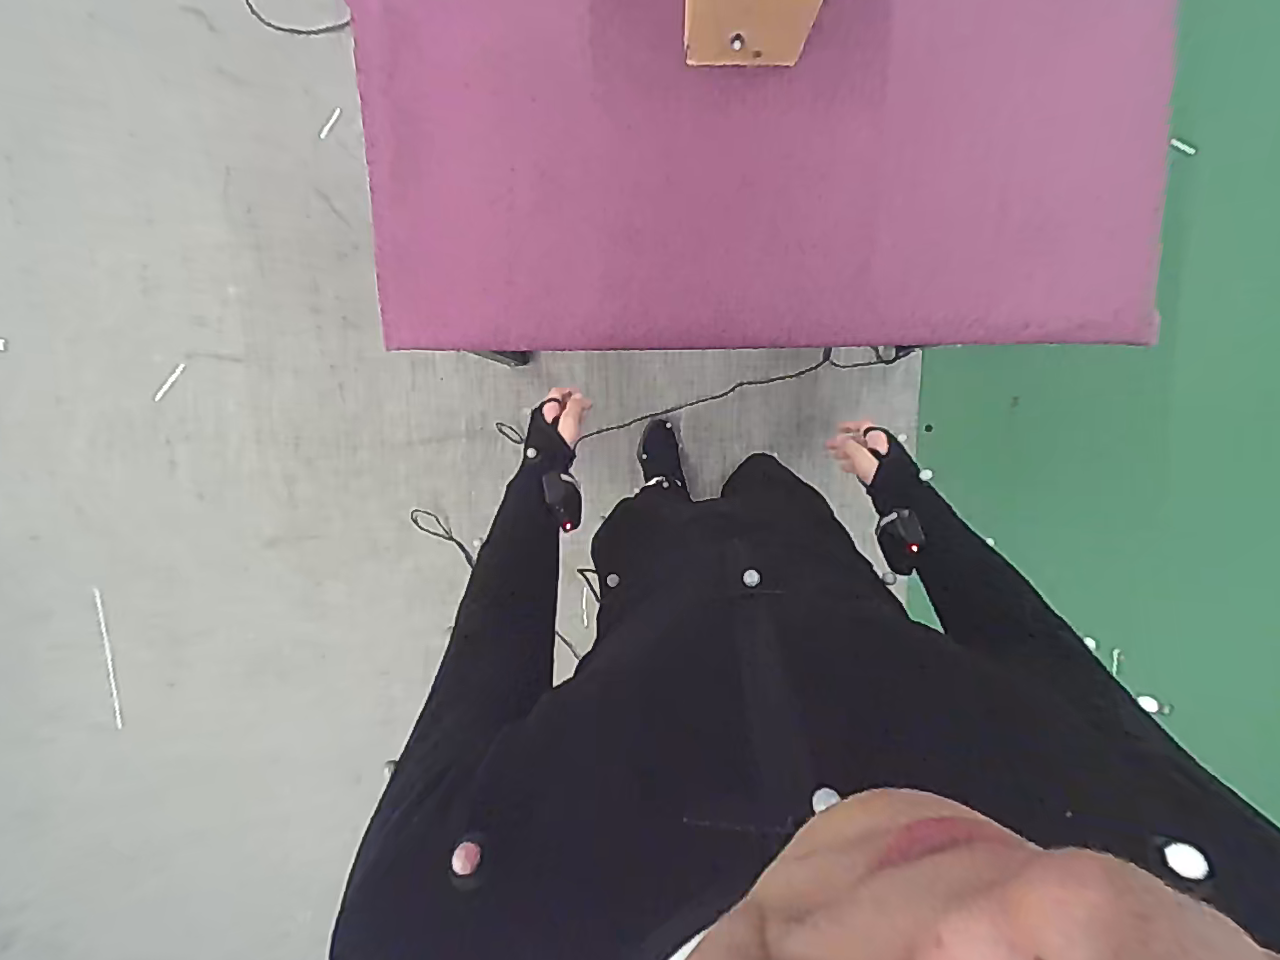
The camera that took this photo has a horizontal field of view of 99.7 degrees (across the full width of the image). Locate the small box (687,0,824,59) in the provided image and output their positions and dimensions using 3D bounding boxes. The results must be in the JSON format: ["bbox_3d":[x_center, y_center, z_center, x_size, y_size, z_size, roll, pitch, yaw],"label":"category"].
[{"bbox_3d":[0.151,-0.695,0.701,0.168,0.176,0.179,0,100,0],"label":"small box"}]
